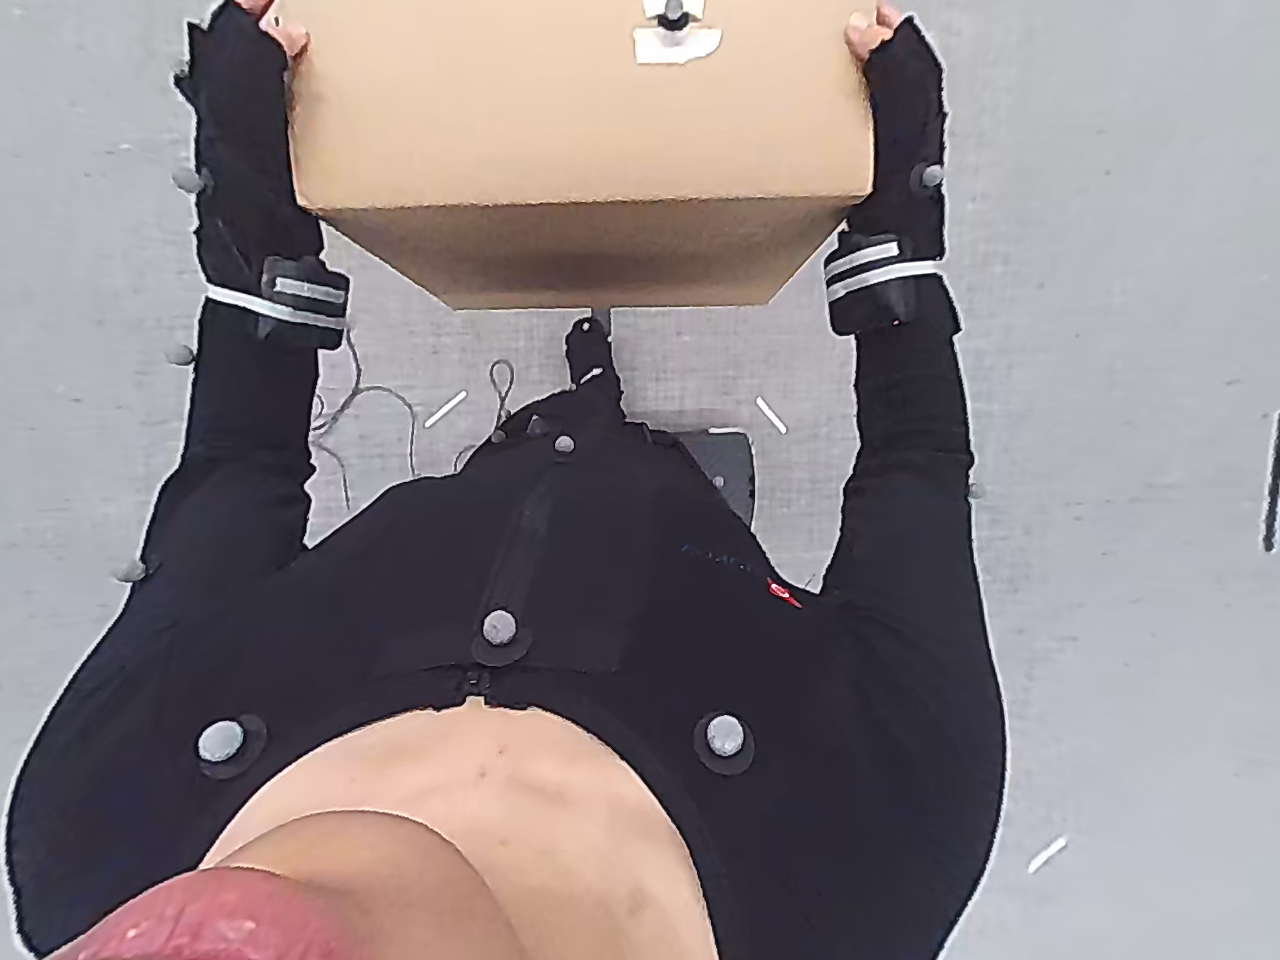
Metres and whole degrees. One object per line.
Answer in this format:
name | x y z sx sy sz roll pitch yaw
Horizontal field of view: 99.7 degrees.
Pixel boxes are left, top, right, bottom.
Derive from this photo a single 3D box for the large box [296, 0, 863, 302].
large box | -0.045 -0.375 0.527 0.408 0.320 0.320 -2 94 0
